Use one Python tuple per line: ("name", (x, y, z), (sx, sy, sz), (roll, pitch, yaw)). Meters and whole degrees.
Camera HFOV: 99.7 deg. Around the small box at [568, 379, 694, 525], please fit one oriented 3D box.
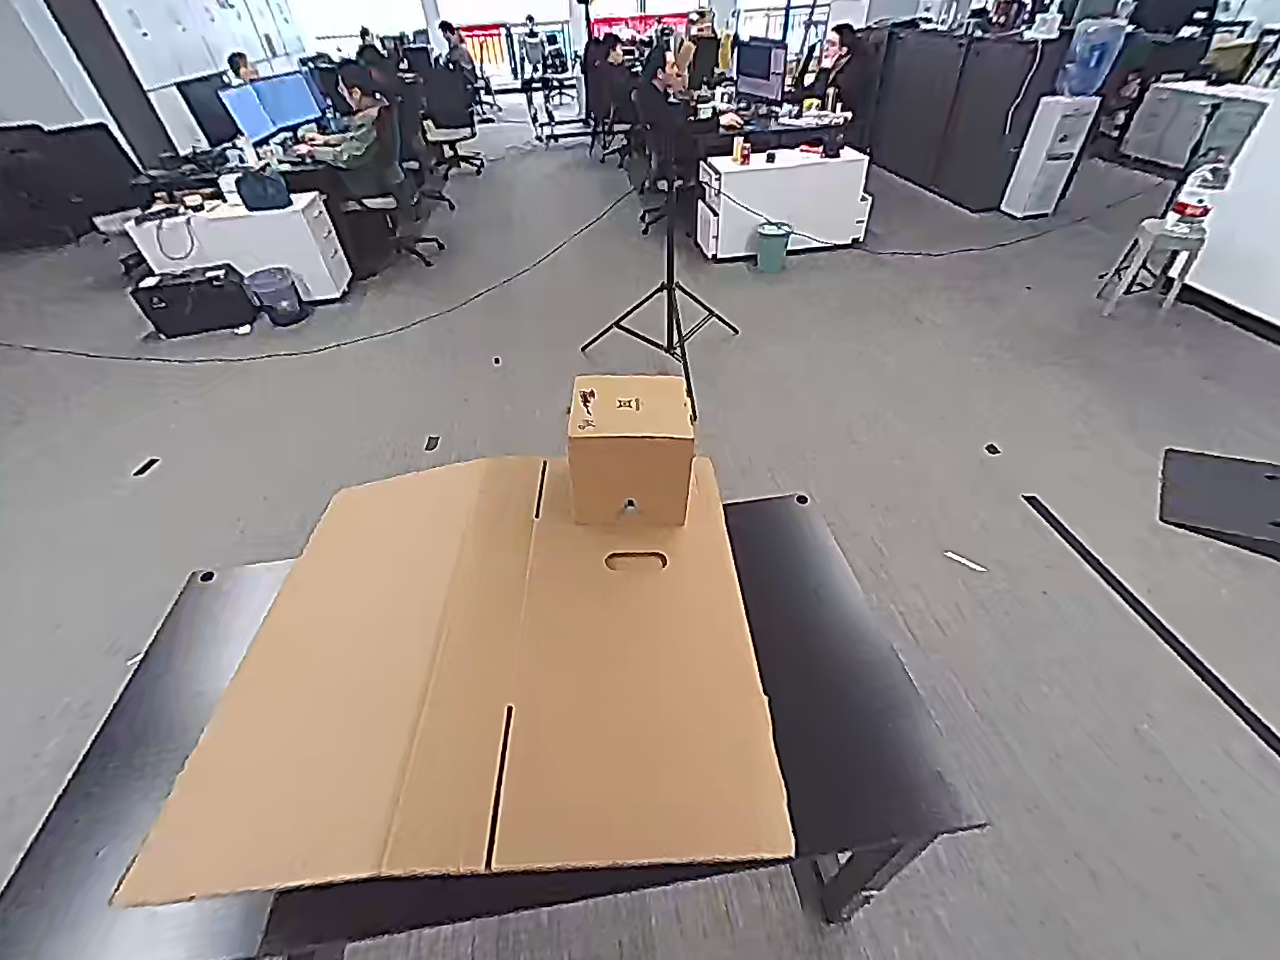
("small box", (-0.017, -0.042, 0.850), (0.179, 0.176, 0.168), (1, 40, -3))
